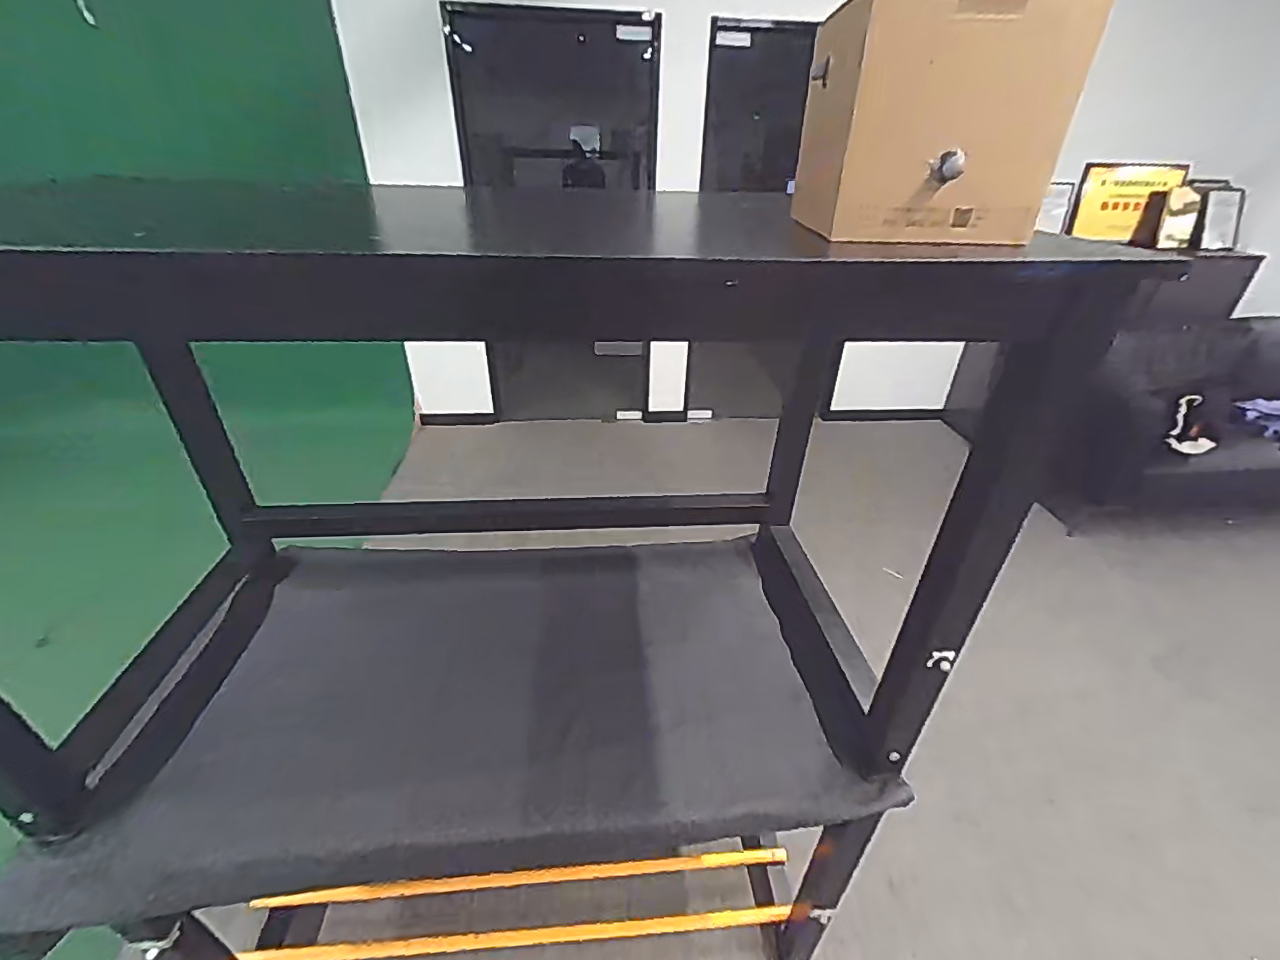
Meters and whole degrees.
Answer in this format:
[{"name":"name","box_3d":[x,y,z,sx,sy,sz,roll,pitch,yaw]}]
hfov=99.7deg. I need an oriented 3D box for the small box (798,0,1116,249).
[{"name":"small box","box_3d":[0.248,-0.312,0.483,0.168,0.176,0.179,2,32,2]}]
